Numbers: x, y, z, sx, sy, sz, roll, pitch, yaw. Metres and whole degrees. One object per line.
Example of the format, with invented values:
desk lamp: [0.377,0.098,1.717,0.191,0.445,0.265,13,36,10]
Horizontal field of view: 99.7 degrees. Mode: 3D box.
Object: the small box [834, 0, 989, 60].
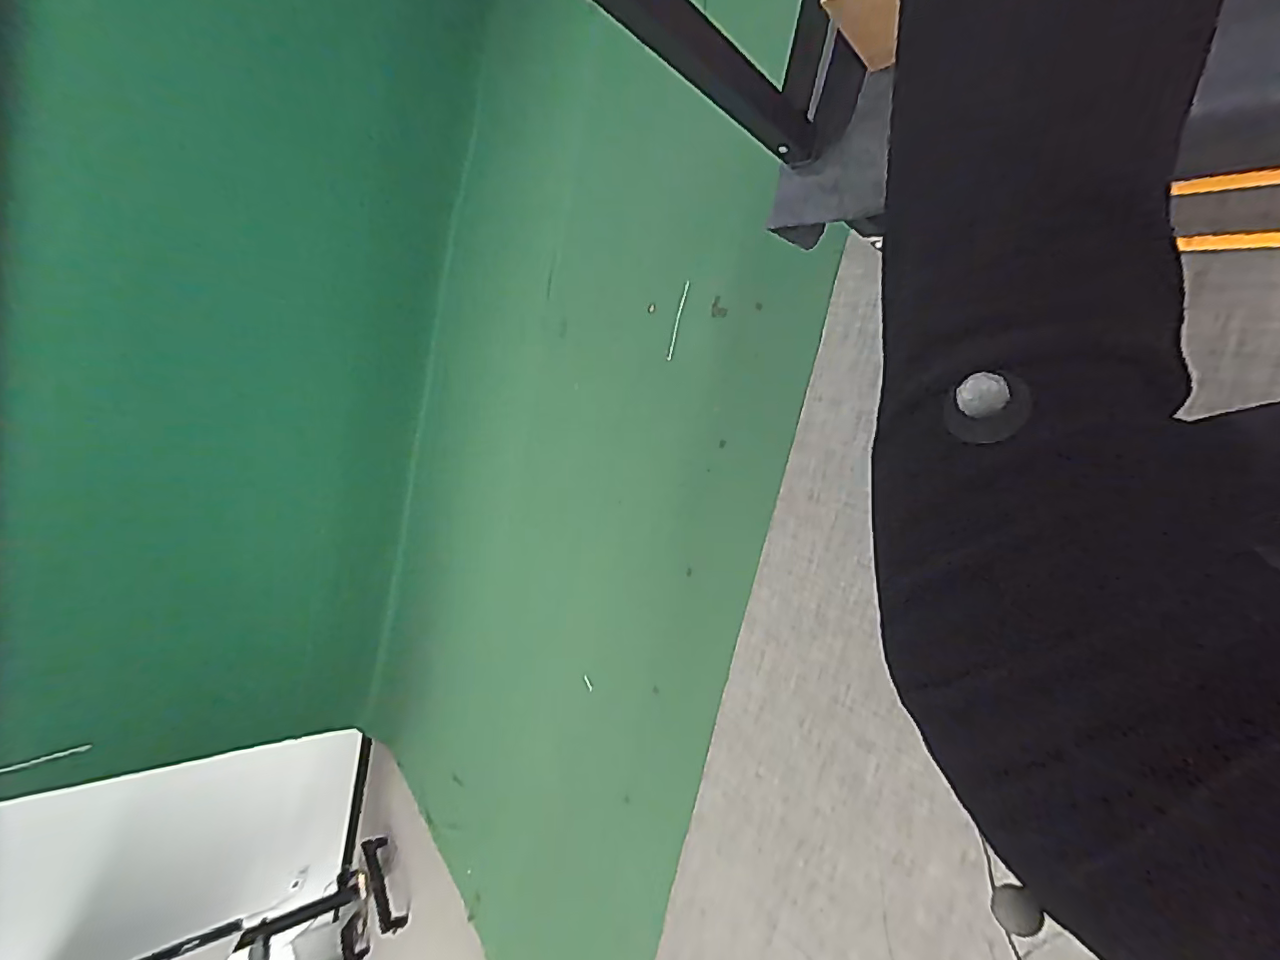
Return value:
small box: [0.377,-0.733,0.735,0.168,0.176,0.179,17,99,47]
